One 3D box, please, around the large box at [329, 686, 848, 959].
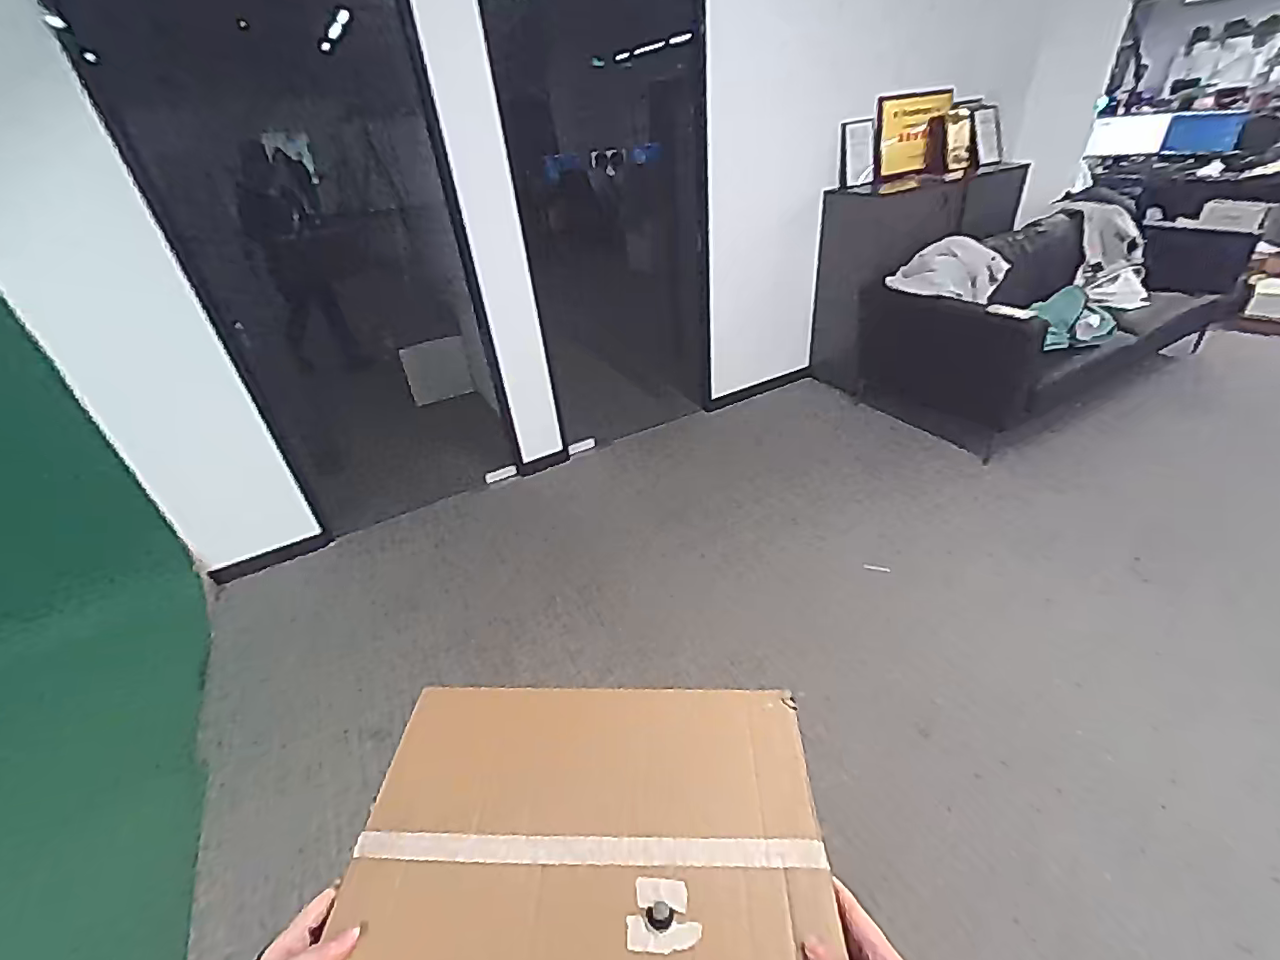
[{"bbox_3d":[-0.036,0.443,0.560,0.408,0.320,0.320,1,35,3],"label":"large box"}]
